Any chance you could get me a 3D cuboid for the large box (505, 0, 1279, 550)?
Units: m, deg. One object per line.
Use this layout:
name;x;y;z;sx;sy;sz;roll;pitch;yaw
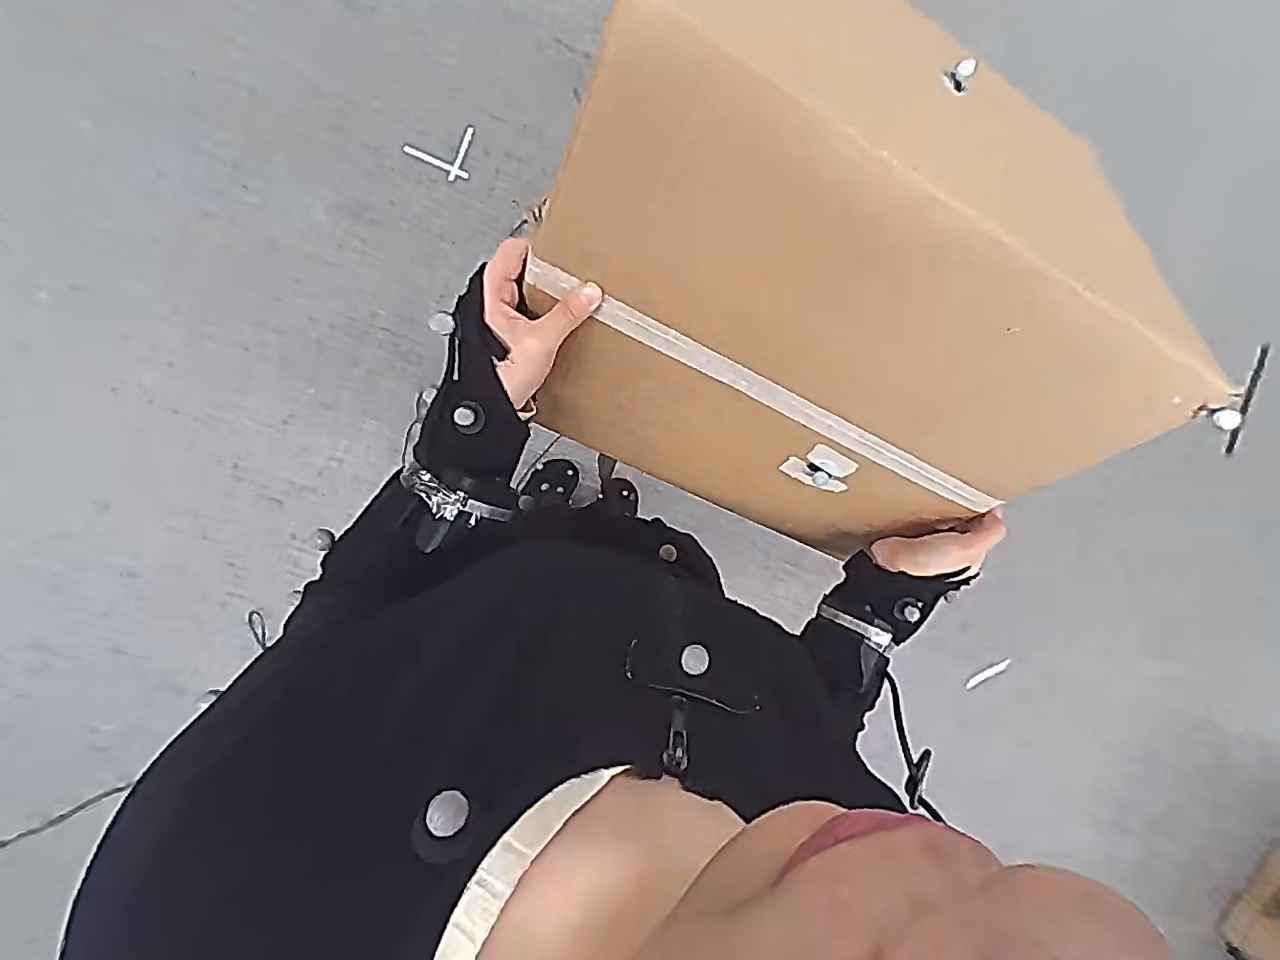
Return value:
large box;0.149;-0.192;0.457;0.408;0.320;0.320;23;56;-14
